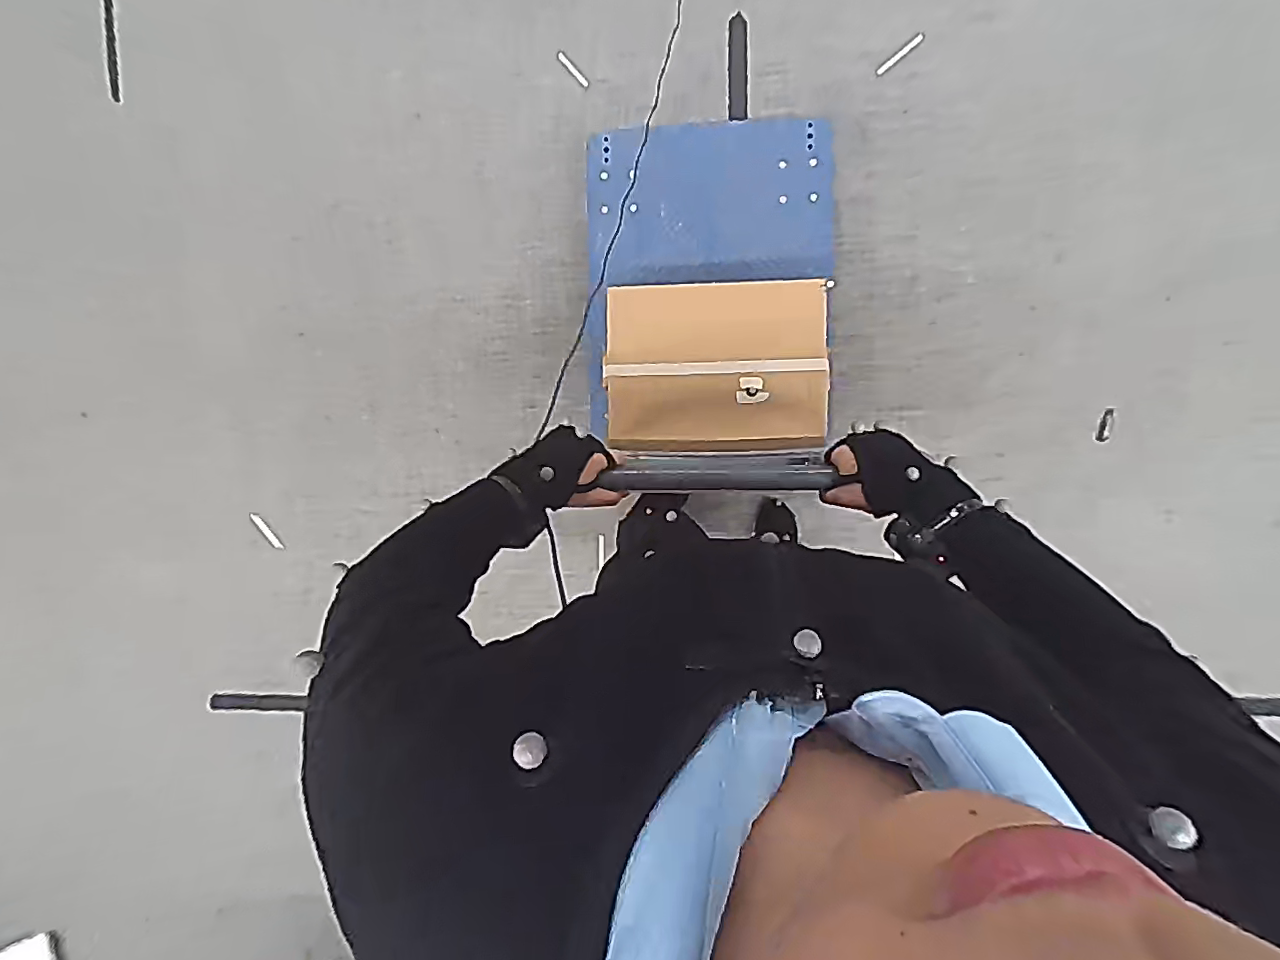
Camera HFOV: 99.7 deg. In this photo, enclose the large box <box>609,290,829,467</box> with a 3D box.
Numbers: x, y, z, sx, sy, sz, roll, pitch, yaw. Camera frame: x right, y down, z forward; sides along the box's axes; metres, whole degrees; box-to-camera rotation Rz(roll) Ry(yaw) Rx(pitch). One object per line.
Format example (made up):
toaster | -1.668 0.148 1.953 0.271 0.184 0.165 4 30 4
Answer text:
large box | 0.153 -0.189 1.139 0.408 0.320 0.320 0 92 5
